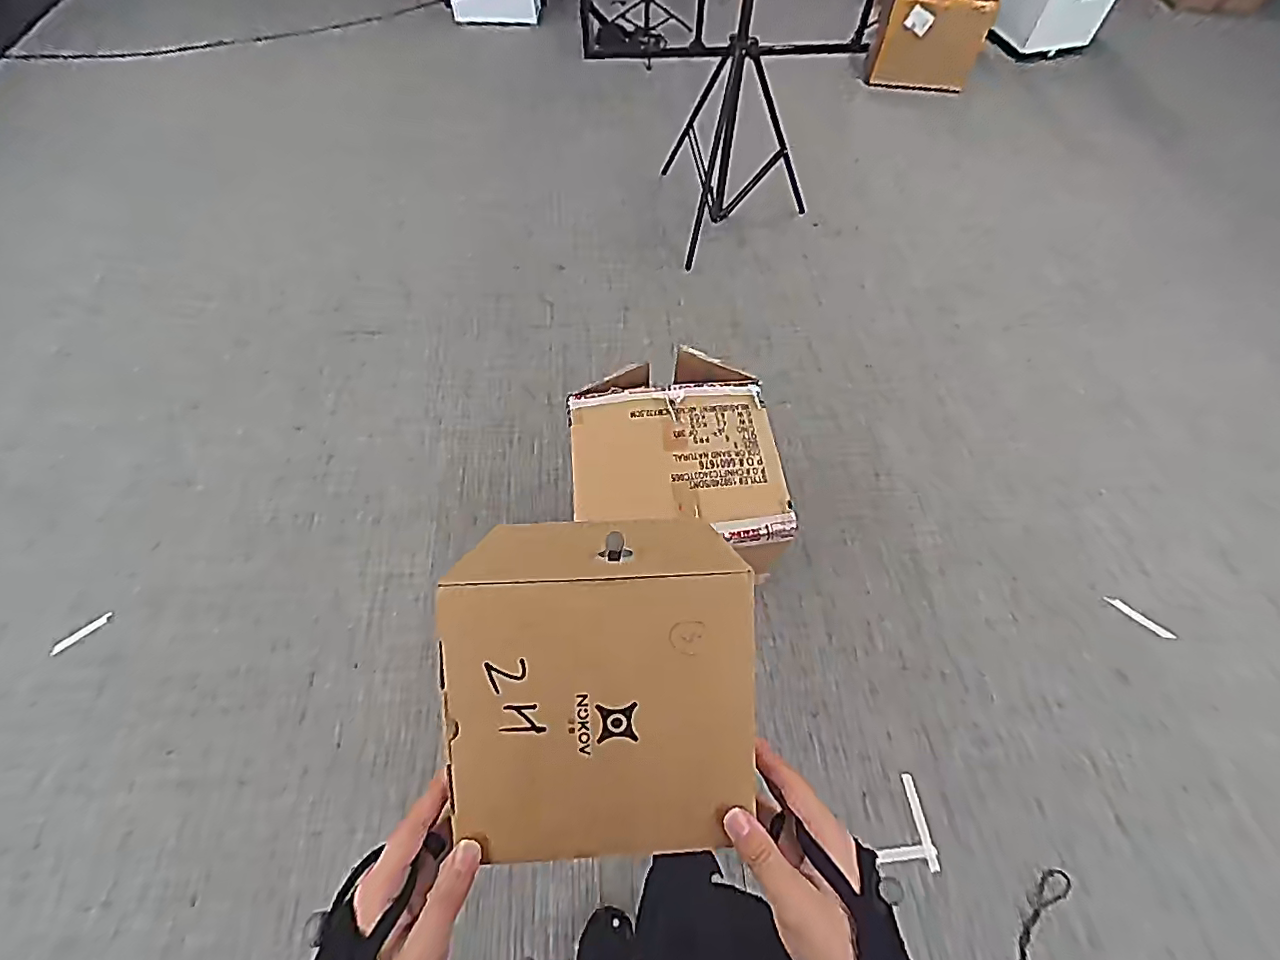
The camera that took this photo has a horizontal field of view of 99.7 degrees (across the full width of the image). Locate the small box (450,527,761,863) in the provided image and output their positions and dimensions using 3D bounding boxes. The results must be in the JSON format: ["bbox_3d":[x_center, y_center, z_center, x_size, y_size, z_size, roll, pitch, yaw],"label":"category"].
[{"bbox_3d":[-0.022,0.130,0.389,0.179,0.176,0.168,-2,95,-2],"label":"small box"}]
